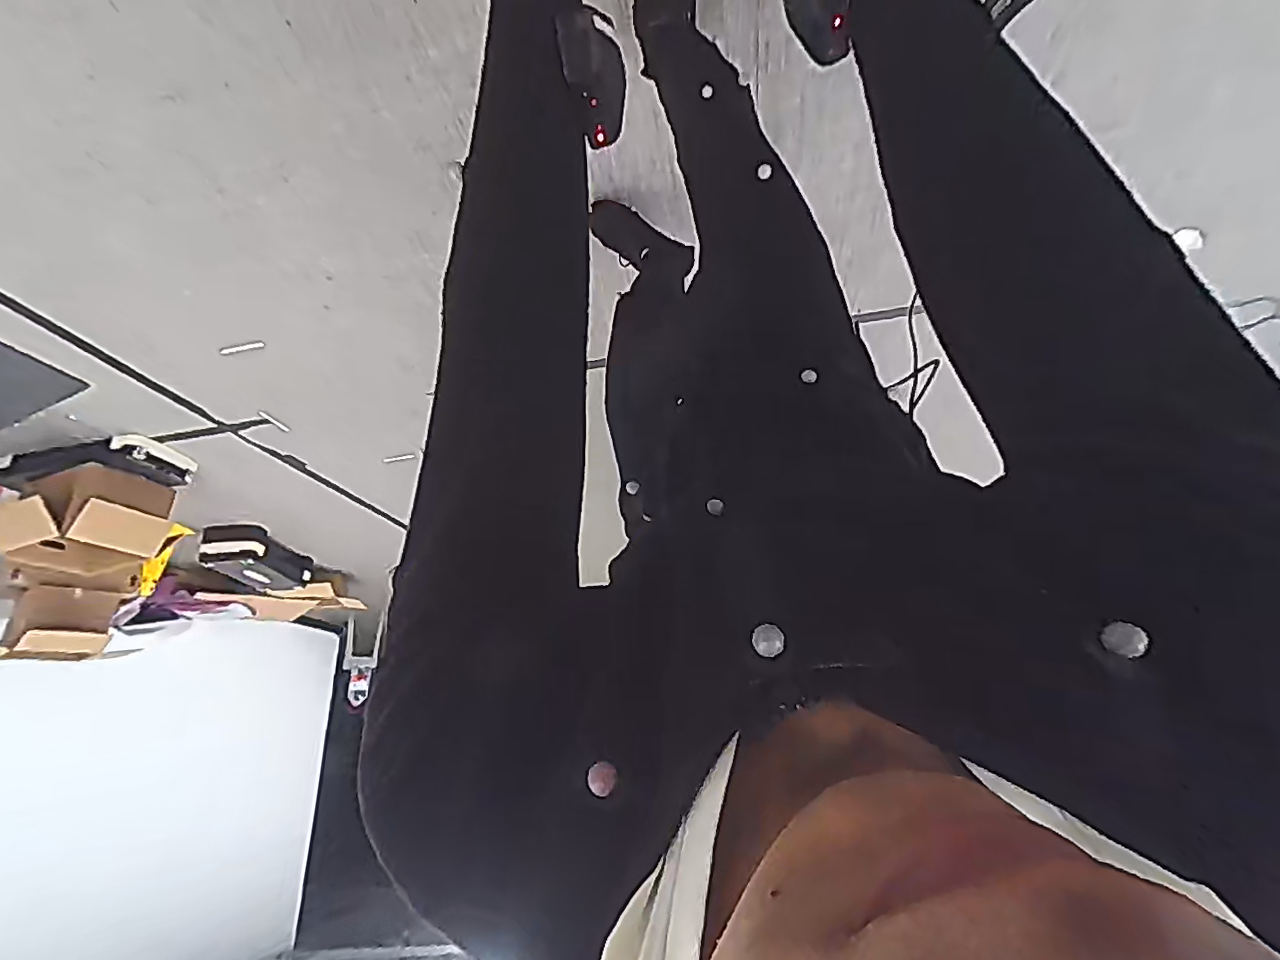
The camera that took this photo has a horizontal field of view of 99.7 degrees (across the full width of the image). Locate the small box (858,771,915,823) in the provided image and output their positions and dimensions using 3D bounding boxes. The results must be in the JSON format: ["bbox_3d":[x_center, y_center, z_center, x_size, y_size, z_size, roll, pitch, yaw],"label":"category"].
[{"bbox_3d":[1.053,1.361,2.327,0.168,0.176,0.179,-8,155,6],"label":"small box"}]
